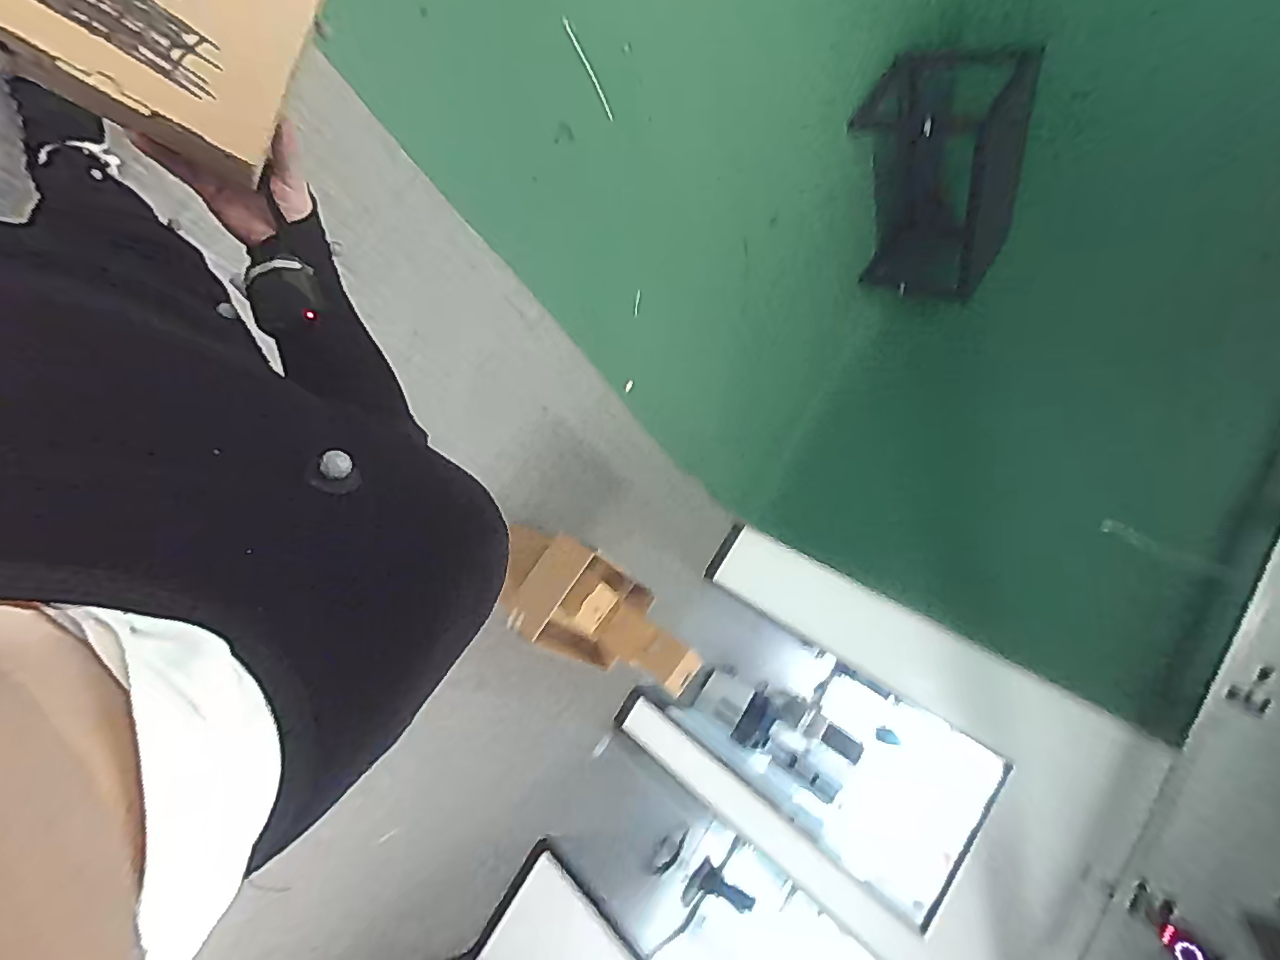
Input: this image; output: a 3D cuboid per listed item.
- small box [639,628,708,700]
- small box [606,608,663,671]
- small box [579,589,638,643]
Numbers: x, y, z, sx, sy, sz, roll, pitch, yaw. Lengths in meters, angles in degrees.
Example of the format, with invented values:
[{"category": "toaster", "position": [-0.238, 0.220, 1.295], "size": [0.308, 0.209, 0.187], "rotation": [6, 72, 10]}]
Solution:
[{"category": "small box", "position": [0.126, 0.685, 2.023], "size": [0.168, 0.176, 0.179], "rotation": [-51, 141, -16]}, {"category": "small box", "position": [0.003, 0.626, 2.115], "size": [0.168, 0.176, 0.179], "rotation": [-56, 143, -8]}, {"category": "small box", "position": [-0.113, 0.568, 2.212], "size": [0.168, 0.176, 0.179], "rotation": [-57, 143, -10]}]
